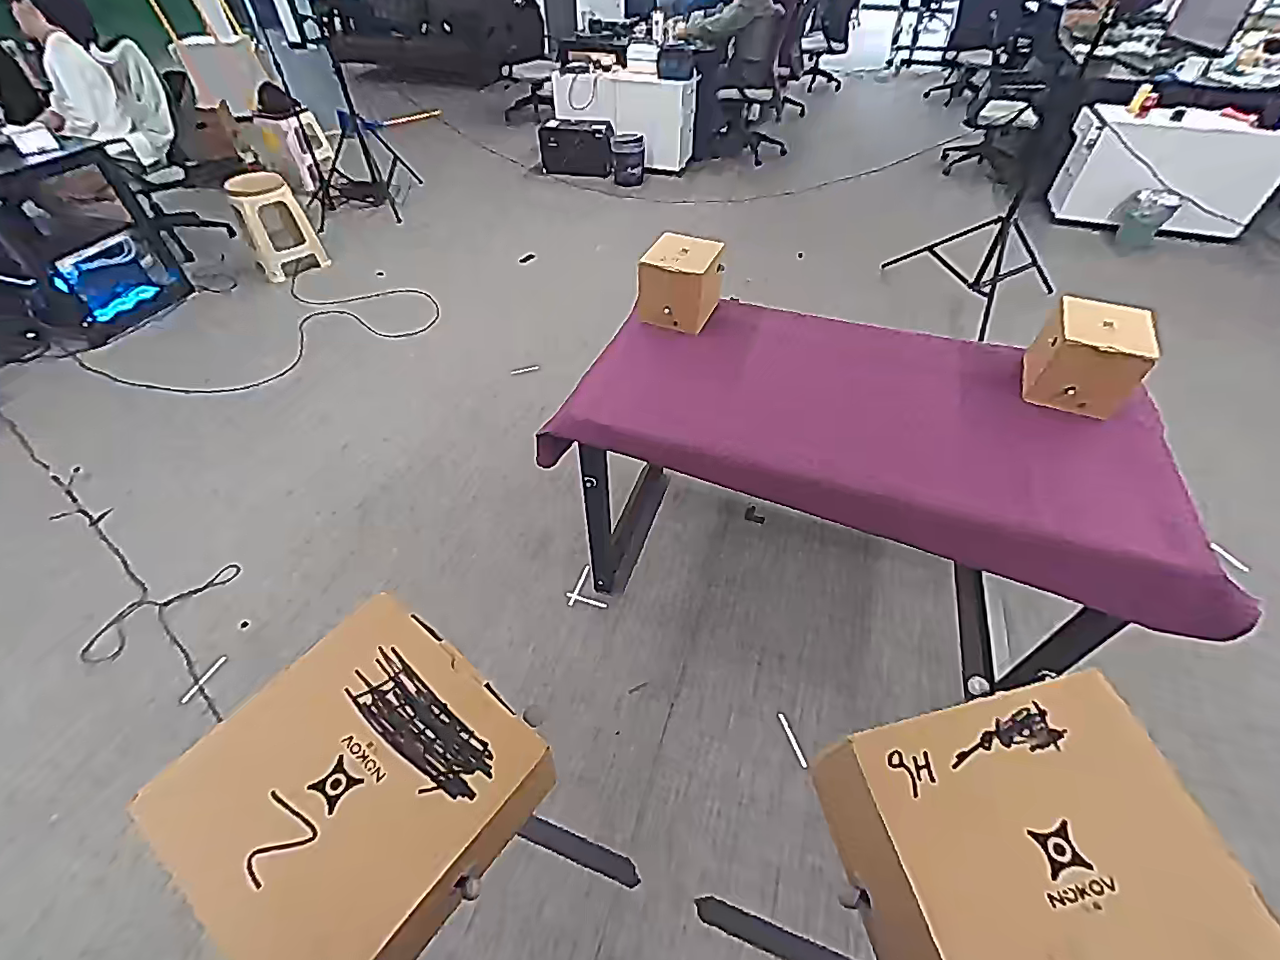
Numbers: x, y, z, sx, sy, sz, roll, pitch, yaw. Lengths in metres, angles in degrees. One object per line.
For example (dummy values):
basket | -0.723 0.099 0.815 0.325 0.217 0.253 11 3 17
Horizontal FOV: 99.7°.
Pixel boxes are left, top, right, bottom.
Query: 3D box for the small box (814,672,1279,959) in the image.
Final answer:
small box | 0.235 0.250 0.358 0.168 0.176 0.179 -14 57 -2

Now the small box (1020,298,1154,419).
small box | 0.962 -0.265 1.183 0.168 0.176 0.179 18 54 16

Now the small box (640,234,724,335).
small box | 0.105 -0.505 1.399 0.168 0.176 0.179 18 52 16
